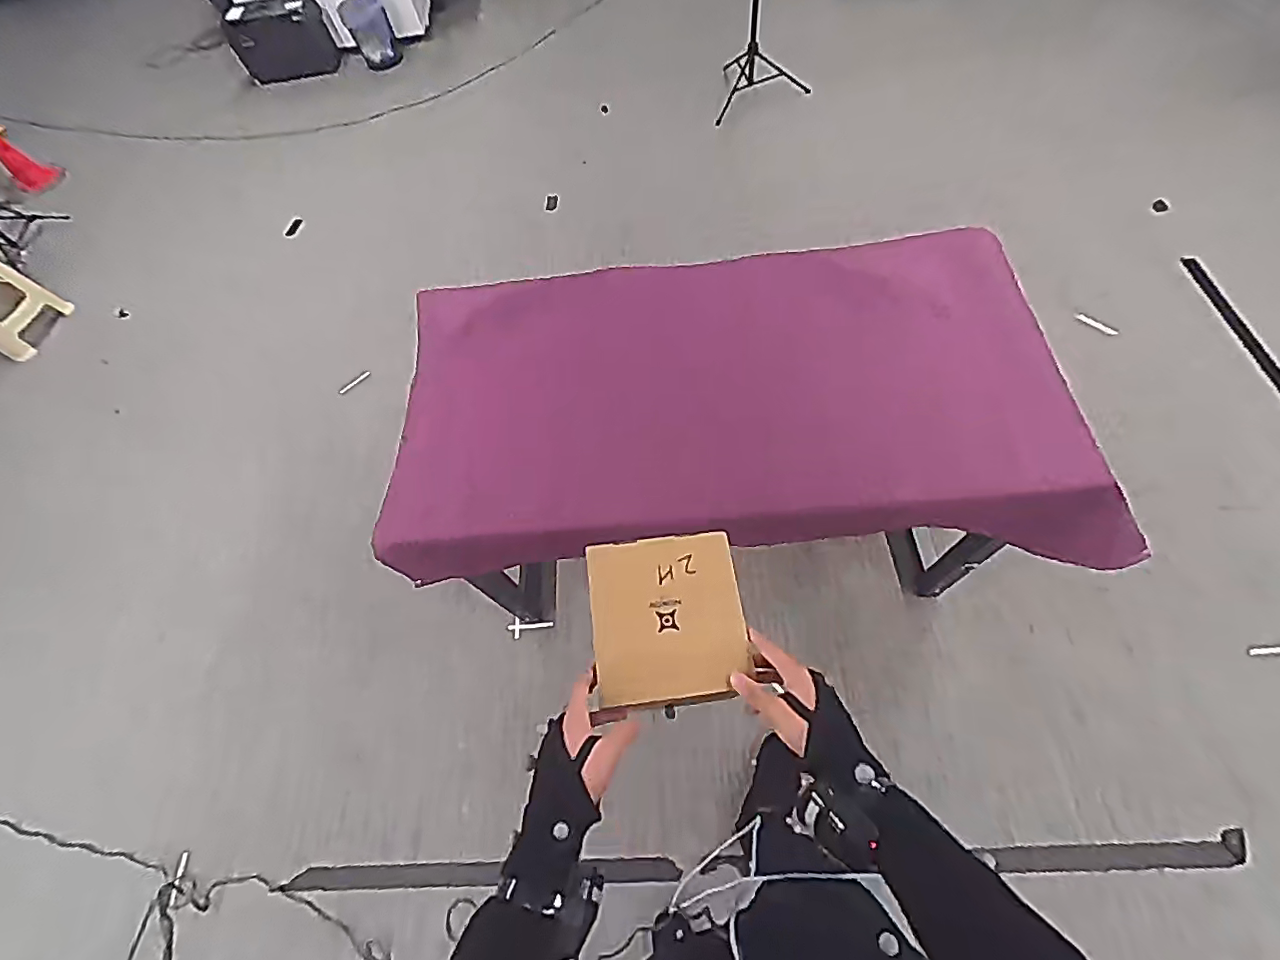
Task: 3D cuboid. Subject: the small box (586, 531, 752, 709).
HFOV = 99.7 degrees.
[{"bbox_3d":[0.027,0.178,0.660,0.168,0.176,0.179,-5,64,-4],"label":"small box"}]
